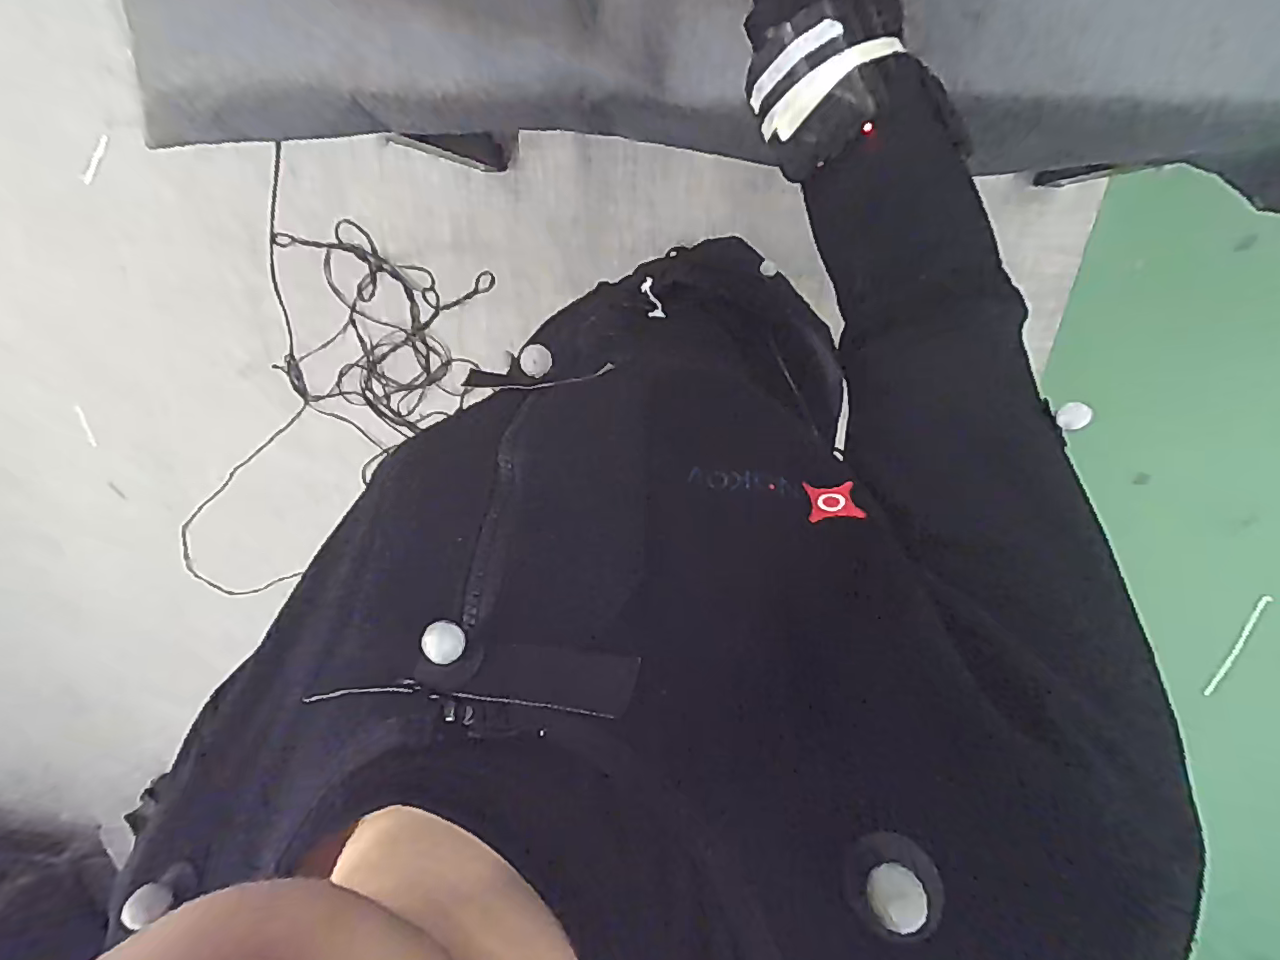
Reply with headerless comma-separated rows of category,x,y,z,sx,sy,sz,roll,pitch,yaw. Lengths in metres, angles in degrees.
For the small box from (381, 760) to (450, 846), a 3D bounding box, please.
small box,-0.788,1.135,1.906,0.168,0.176,0.179,15,114,2
